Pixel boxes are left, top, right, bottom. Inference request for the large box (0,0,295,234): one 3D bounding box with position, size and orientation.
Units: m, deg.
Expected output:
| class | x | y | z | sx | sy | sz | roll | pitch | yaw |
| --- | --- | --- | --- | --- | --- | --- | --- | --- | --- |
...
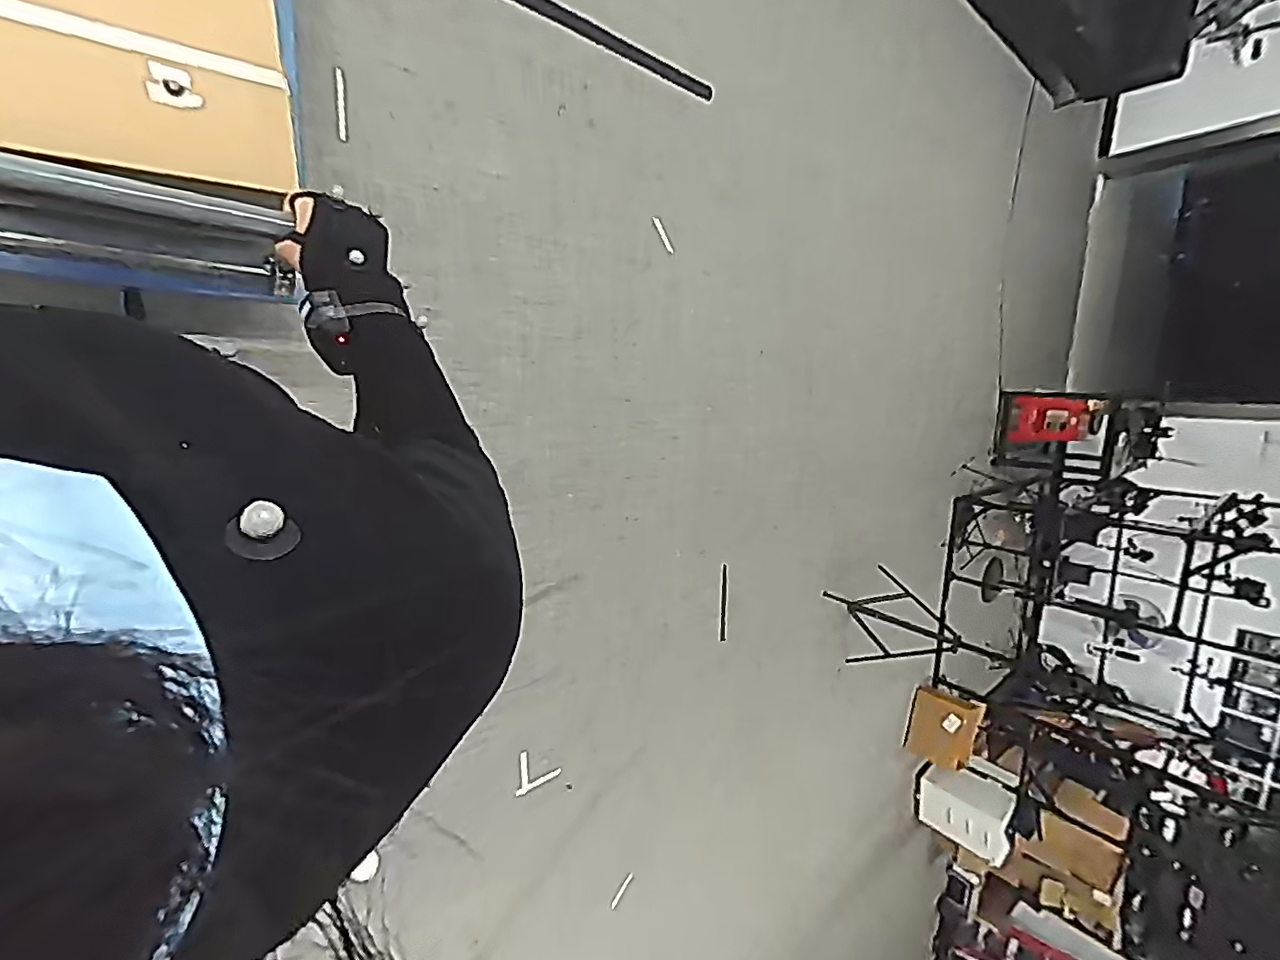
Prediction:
| class | x | y | z | sx | sy | sz | roll | pitch | yaw |
| --- | --- | --- | --- | --- | --- | --- | --- | --- | --- |
| large box | -0.795 | -0.583 | 0.804 | 0.408 | 0.320 | 0.320 | -11 | 105 | -40 |
